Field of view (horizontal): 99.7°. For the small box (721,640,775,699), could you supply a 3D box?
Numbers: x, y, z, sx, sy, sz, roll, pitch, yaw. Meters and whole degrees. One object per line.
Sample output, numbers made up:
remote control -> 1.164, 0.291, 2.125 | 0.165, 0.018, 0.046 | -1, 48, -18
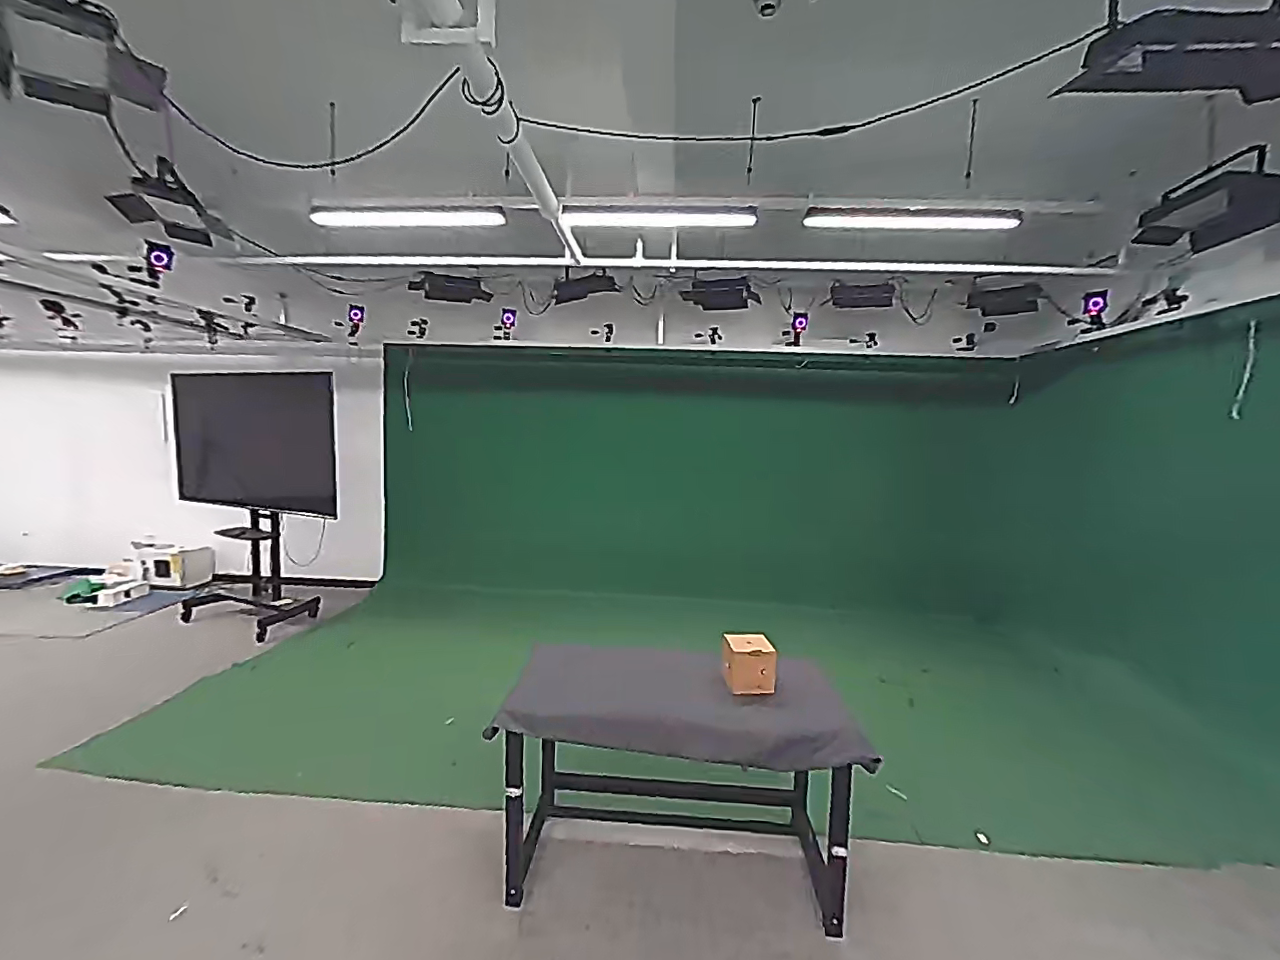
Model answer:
small box -> 0.414, 0.735, 2.097 | 0.168, 0.176, 0.179 | 3, 3, -5
